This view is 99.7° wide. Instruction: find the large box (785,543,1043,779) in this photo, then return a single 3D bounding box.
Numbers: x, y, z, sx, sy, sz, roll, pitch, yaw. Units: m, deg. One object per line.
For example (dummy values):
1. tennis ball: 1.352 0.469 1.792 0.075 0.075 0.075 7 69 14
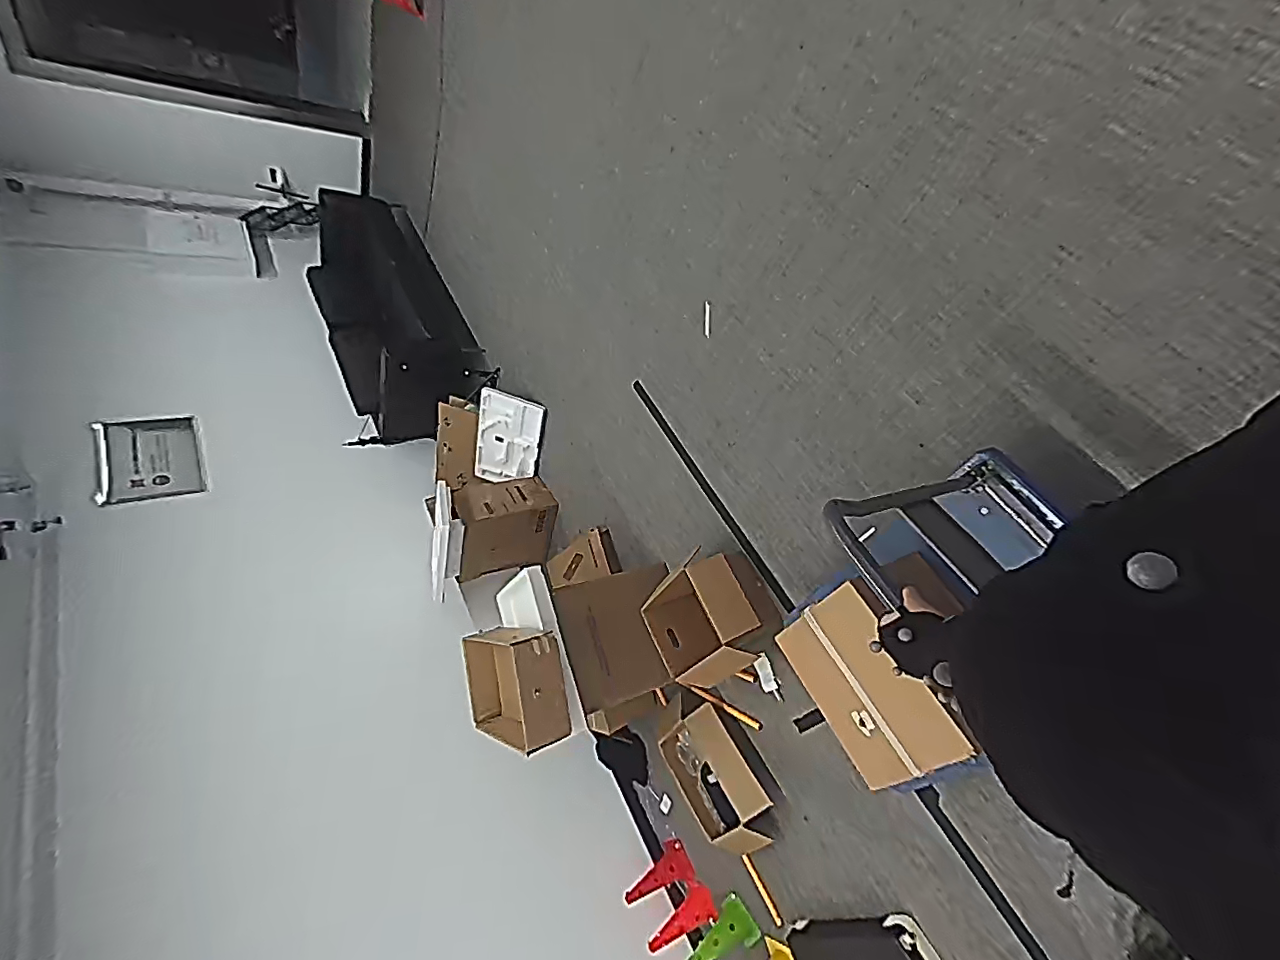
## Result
1. large box: 0.648 0.425 1.322 0.408 0.320 0.320 58 141 26
